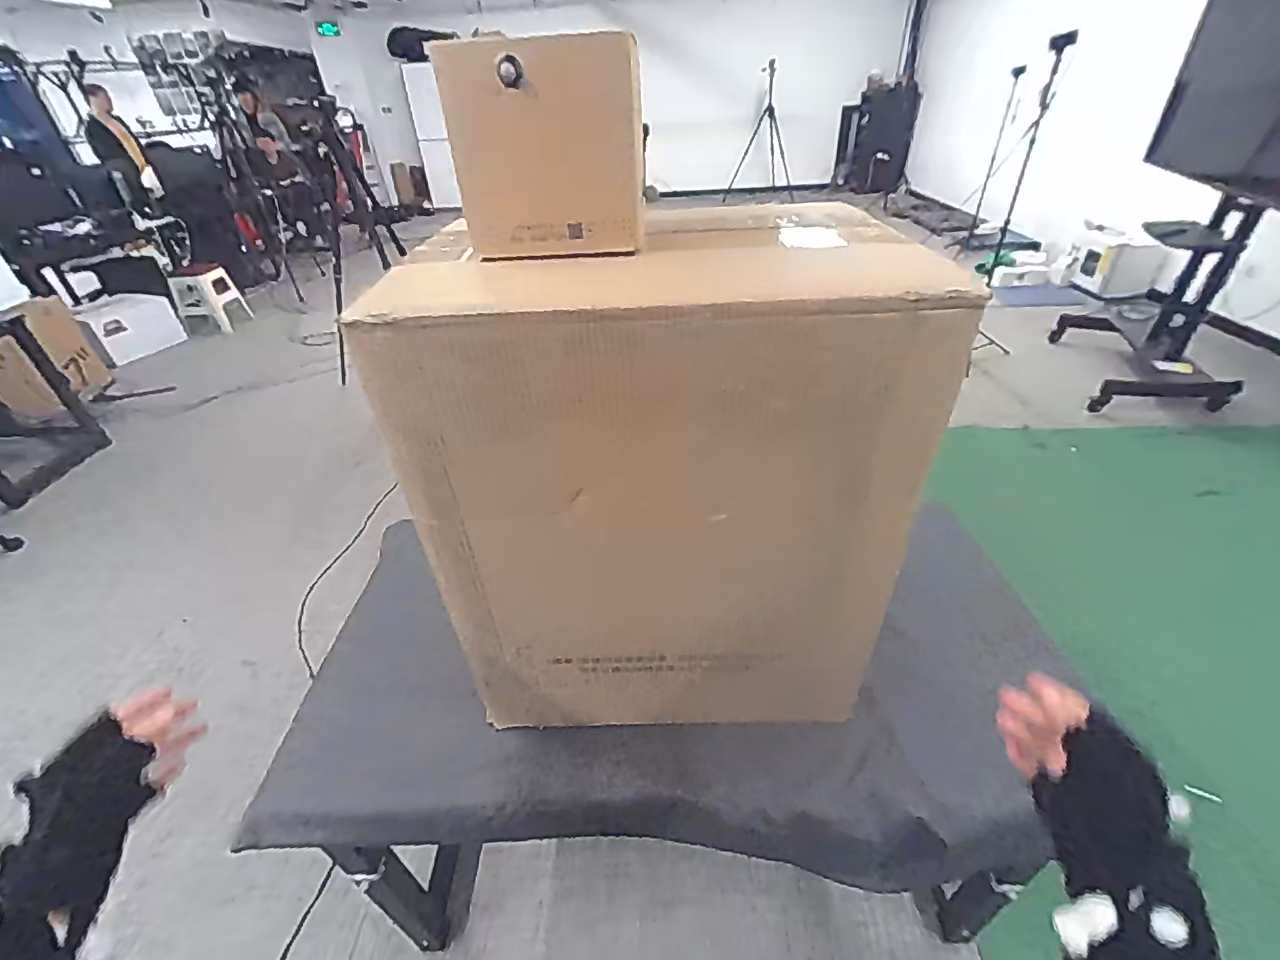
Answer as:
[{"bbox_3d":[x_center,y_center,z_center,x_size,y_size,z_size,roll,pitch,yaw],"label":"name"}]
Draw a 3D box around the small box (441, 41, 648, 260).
[{"bbox_3d":[-0.079,-0.332,0.557,0.168,0.176,0.179,-1,35,4],"label":"small box"}]
